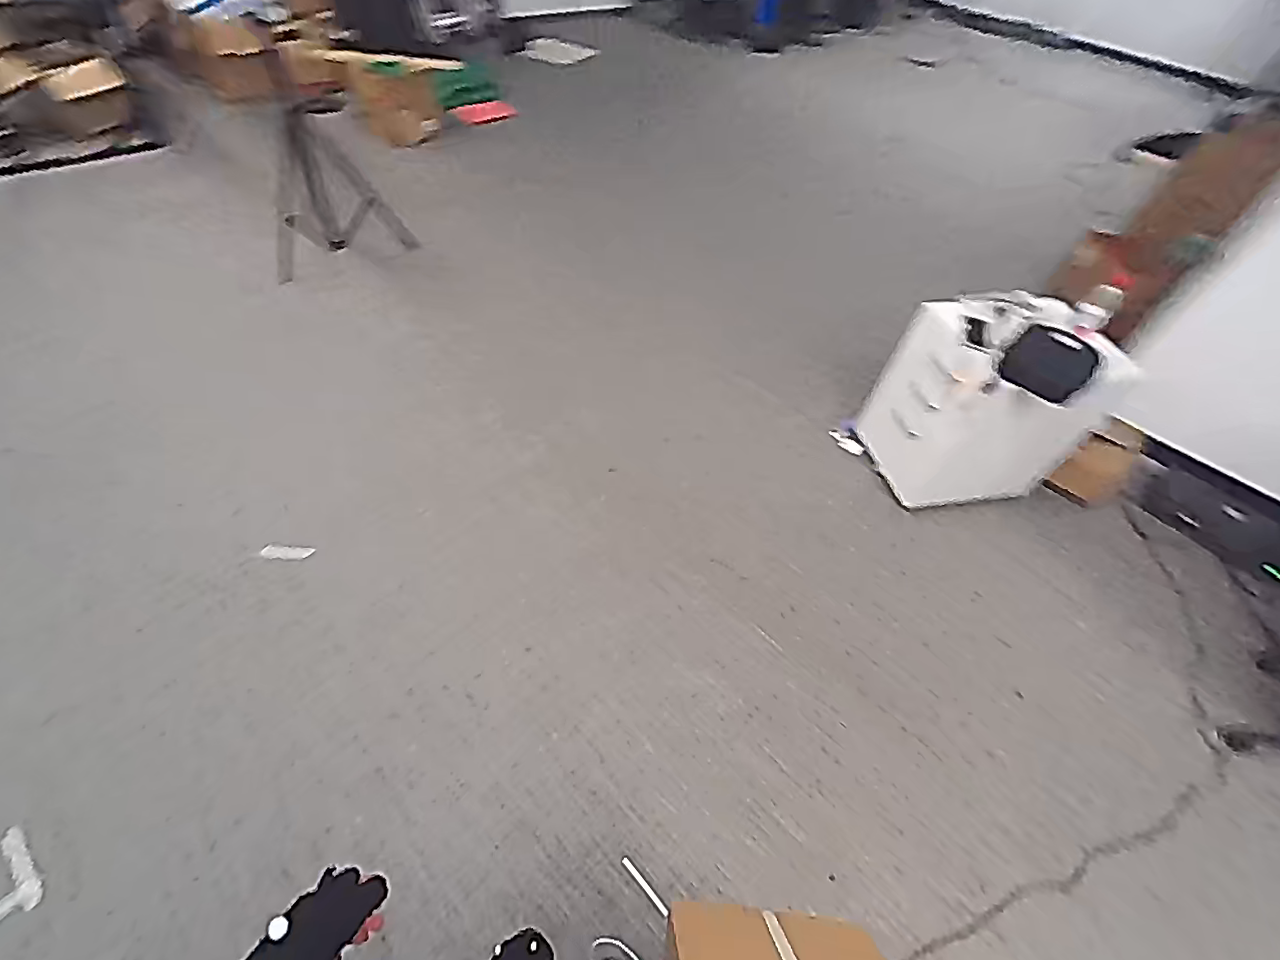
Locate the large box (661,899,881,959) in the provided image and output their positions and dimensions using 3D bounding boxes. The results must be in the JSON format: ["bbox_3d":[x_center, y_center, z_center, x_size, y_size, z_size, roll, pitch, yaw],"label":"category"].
[{"bbox_3d":[0.184,0.793,0.641,0.320,0.408,0.320,7,77,-1],"label":"large box"}]
